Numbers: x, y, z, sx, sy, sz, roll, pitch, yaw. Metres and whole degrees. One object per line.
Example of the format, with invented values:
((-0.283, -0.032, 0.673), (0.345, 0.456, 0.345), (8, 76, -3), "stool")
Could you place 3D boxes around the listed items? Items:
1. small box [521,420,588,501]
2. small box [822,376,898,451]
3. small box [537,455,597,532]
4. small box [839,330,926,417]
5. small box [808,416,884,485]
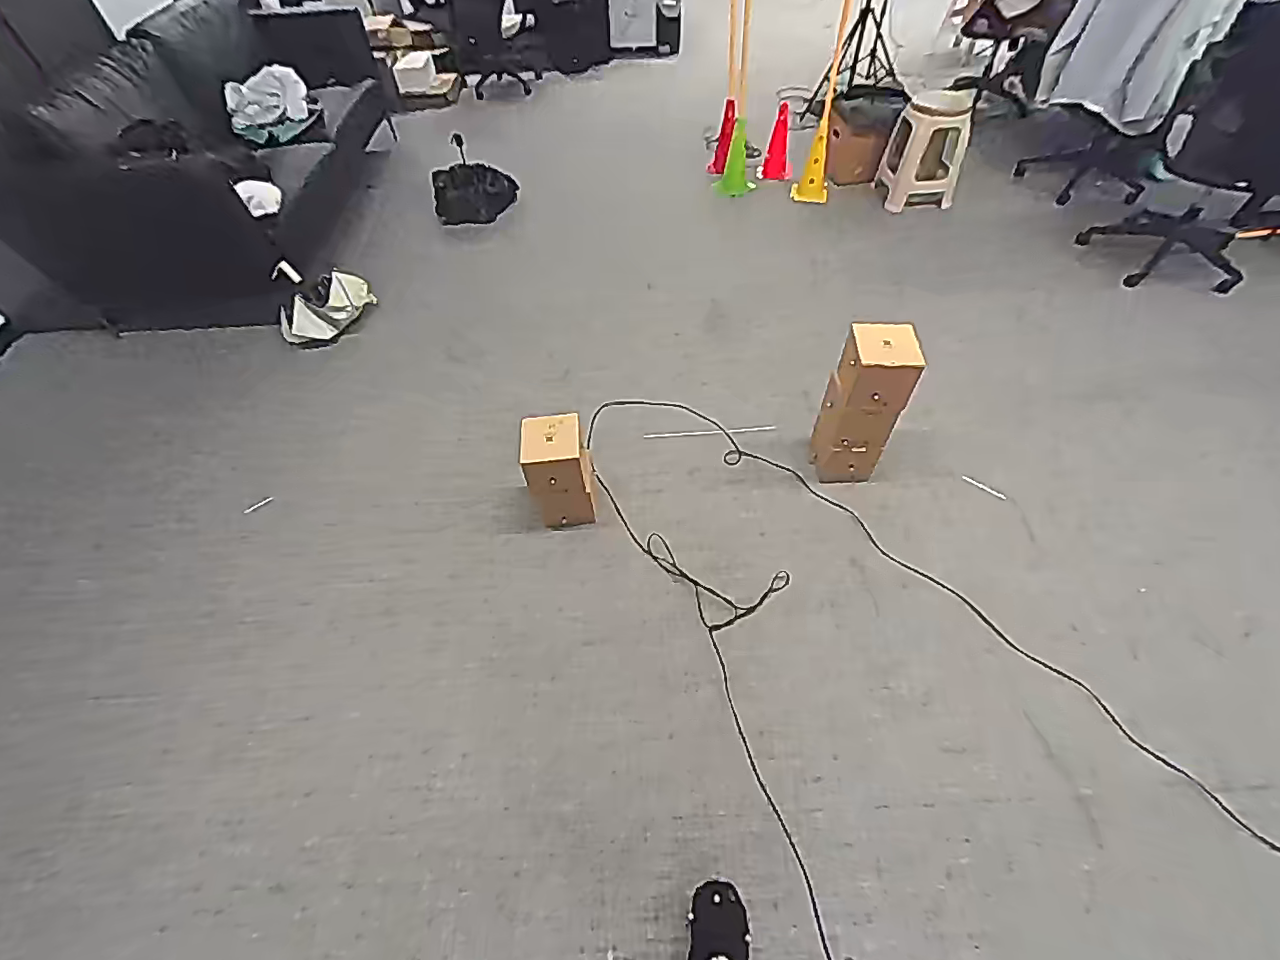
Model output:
((-0.247, -0.052, 1.592), (0.168, 0.176, 0.179), (-6, 52, -1), "small box")
((0.671, -0.202, 1.656), (0.168, 0.176, 0.179), (-2, 51, 2), "small box")
((-0.229, 0.045, 1.723), (0.168, 0.176, 0.179), (-6, 52, -1), "small box")
((0.673, -0.300, 1.527), (0.168, 0.176, 0.179), (2, 53, 5), "small box")
((0.673, -0.095, 1.785), (0.168, 0.176, 0.179), (-2, 54, -3), "small box")
